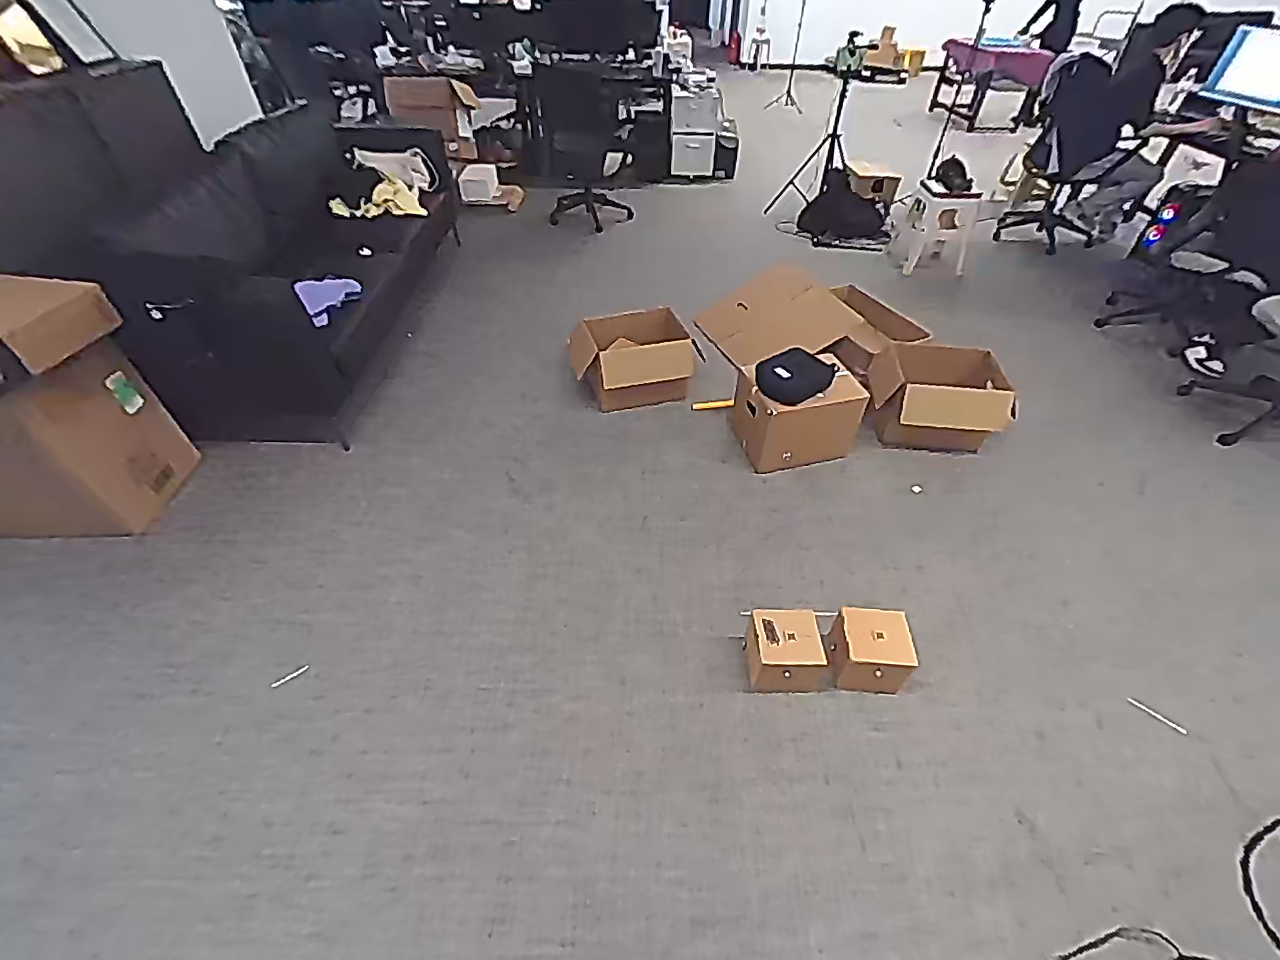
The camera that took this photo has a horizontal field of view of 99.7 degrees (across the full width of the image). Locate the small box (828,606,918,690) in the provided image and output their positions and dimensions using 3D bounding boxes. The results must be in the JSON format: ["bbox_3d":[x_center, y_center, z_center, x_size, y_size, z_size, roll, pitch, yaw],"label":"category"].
[{"bbox_3d":[0.645,0.474,1.520,0.179,0.176,0.168,3,45,4],"label":"small box"}]

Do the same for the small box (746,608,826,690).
[{"bbox_3d":[0.399,0.476,1.517,0.179,0.176,0.168,0,45,-1],"label":"small box"}]
